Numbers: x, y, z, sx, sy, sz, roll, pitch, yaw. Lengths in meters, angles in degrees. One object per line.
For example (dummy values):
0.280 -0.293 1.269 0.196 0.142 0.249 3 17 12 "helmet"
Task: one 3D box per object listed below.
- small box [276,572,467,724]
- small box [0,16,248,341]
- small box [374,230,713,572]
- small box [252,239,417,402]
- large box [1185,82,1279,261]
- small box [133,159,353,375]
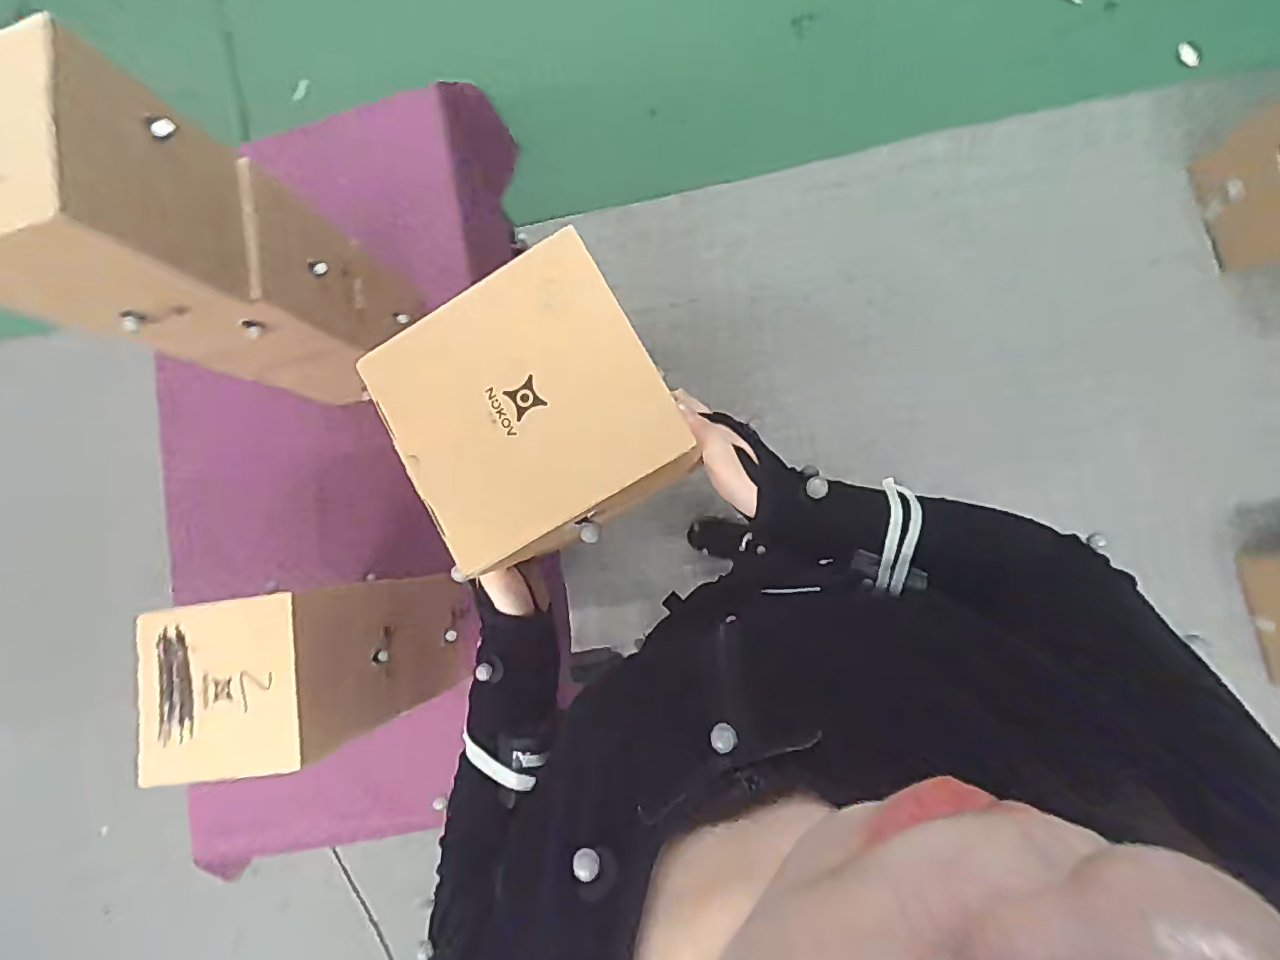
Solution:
-0.368 0.226 0.762 0.179 0.176 0.168 -10 83 7 "small box"
-0.505 -0.252 0.496 0.168 0.176 0.179 -12 84 8 "small box"
-0.057 -0.049 0.426 0.179 0.176 0.168 -29 84 7 "small box"
-0.453 -0.229 0.820 0.179 0.176 0.168 -11 83 7 "small box"
1.639 -0.761 1.245 0.408 0.320 0.320 -10 83 6 "large box"
-0.477 -0.241 0.656 0.179 0.176 0.168 -11 83 7 "small box"
